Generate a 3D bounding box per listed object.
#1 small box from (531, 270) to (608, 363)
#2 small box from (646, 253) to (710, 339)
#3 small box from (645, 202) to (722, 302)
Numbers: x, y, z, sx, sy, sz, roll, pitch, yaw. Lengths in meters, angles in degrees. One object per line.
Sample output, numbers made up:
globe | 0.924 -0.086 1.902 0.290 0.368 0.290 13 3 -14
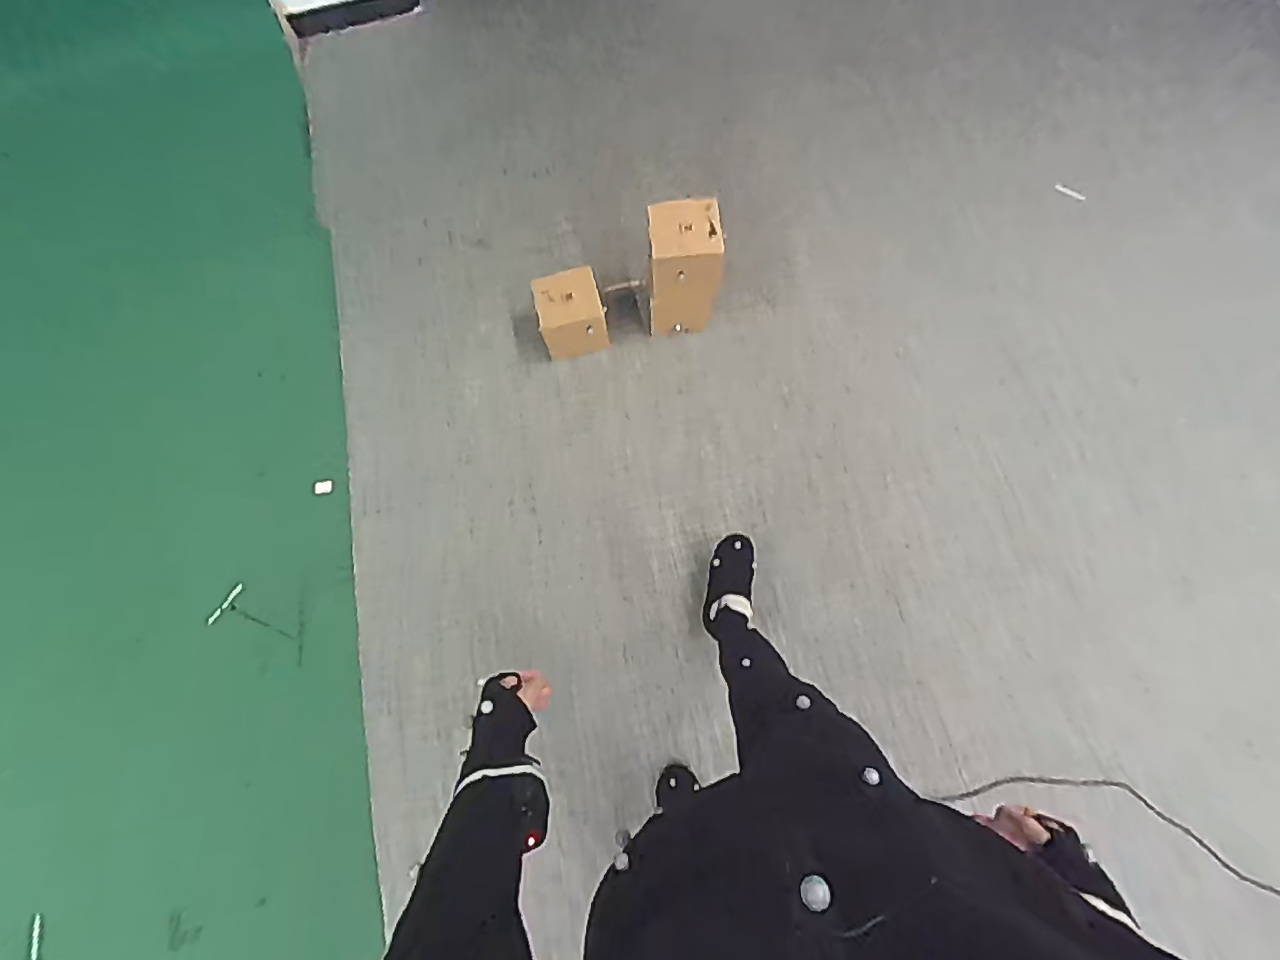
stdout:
small box | -0.194 -0.460 1.541 0.179 0.176 0.168 -15 72 -1
small box | 0.104 -0.529 1.547 0.168 0.176 0.179 -5 73 2
small box | 0.111 -0.577 1.389 0.179 0.176 0.168 -5 73 2
